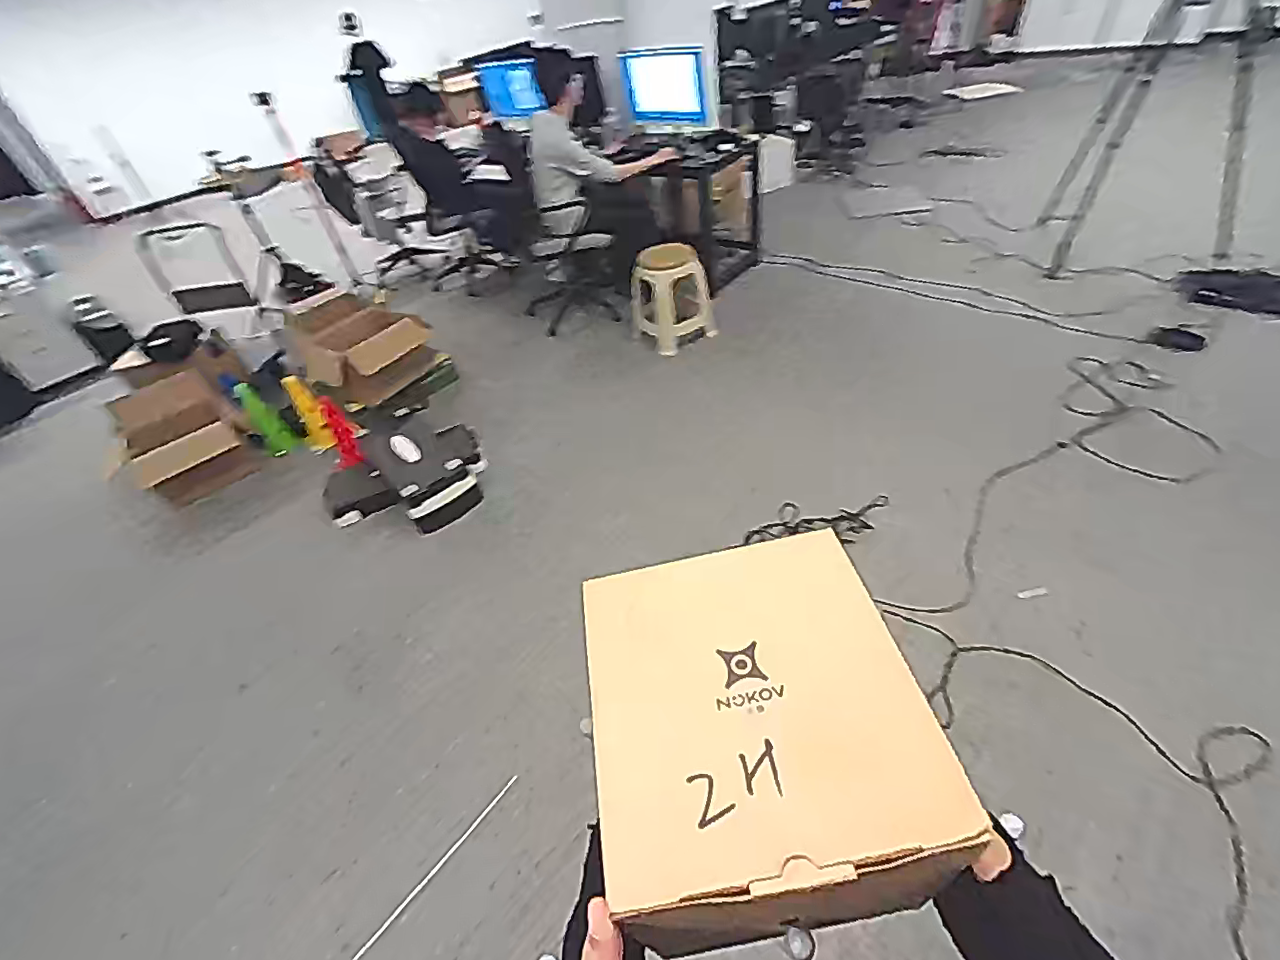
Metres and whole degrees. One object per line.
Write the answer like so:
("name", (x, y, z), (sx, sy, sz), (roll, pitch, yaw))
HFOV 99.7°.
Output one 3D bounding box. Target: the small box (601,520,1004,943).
("small box", (0.075, 0.155, 0.339), (0.168, 0.176, 0.179), (-12, 43, 2))
